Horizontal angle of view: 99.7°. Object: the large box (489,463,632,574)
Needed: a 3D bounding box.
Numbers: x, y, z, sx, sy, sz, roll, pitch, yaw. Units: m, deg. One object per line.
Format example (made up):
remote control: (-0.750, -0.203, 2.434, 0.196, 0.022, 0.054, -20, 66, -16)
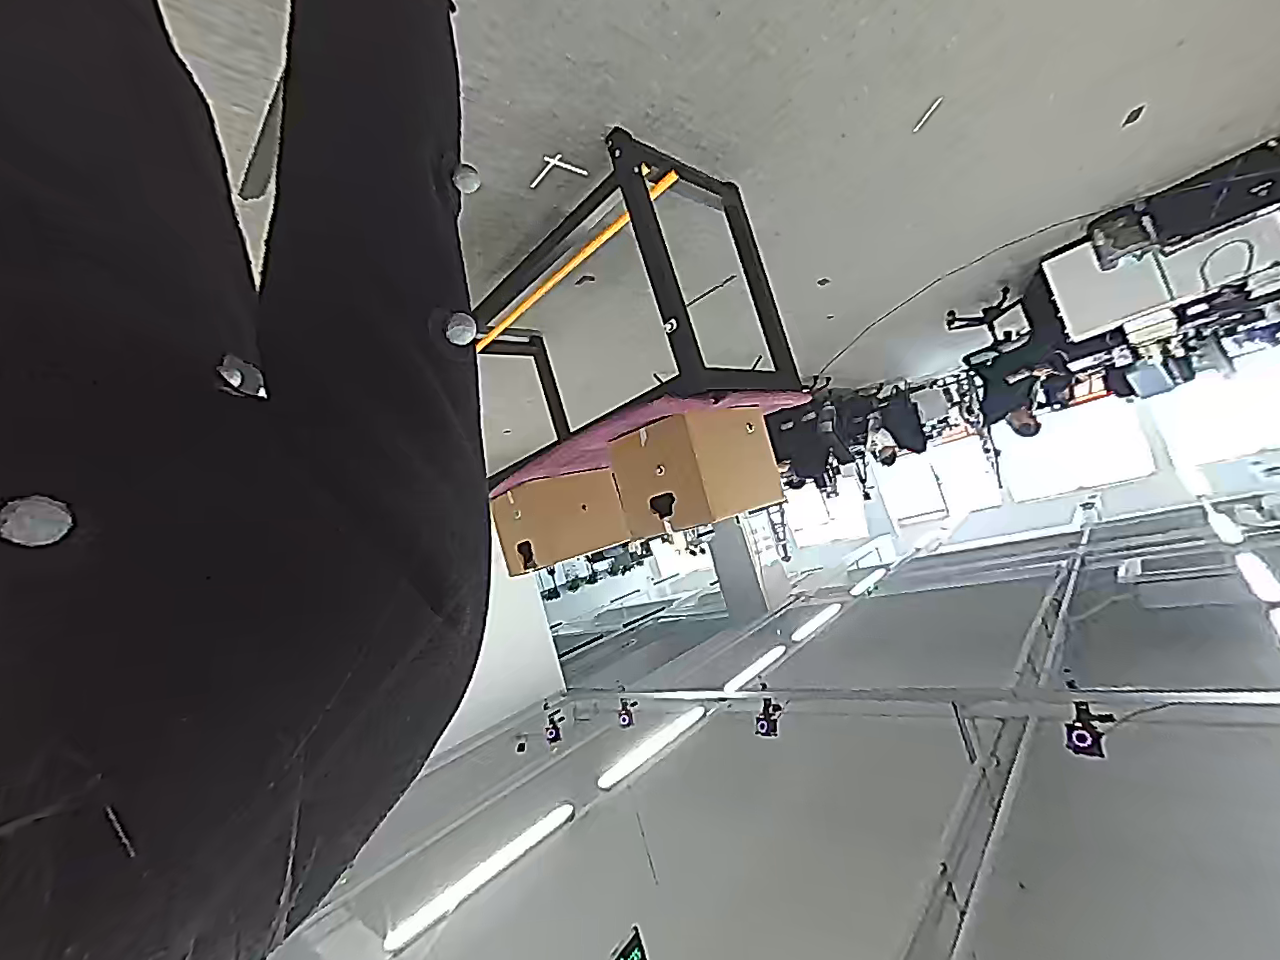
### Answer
large box: (-0.311, 0.144, 2.113, 0.320, 0.320, 0.408, -21, 175, 42)
